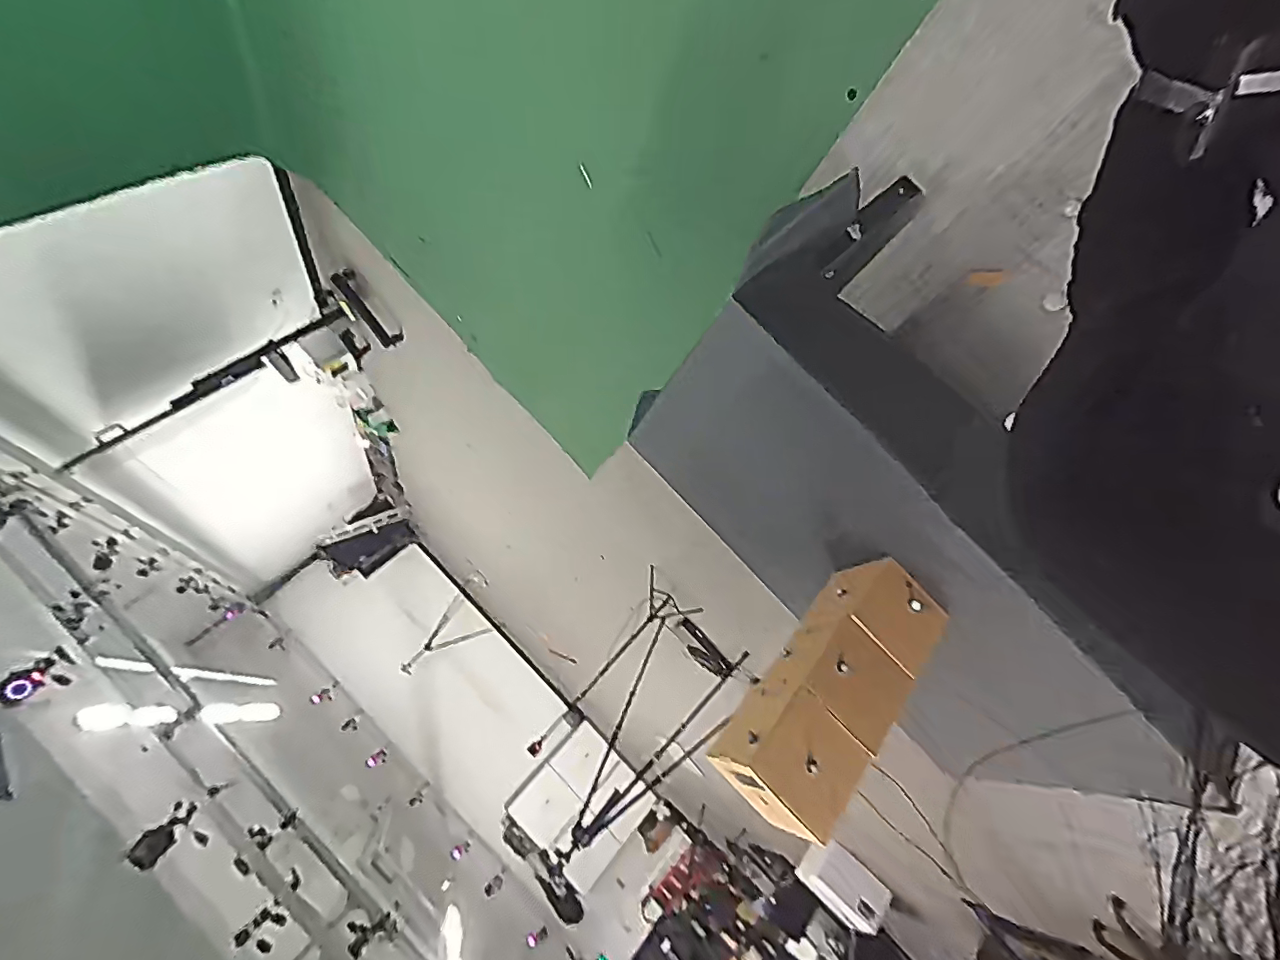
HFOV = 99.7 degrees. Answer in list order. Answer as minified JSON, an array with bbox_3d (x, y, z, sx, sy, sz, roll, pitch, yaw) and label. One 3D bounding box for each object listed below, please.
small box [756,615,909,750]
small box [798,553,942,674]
[{"bbox_3d":[0.361,0.373,1.020,0.179,0.176,0.168,46,152,4],"label":"small box"},{"bbox_3d":[0.465,0.273,1.095,0.168,0.176,0.179,47,151,1],"label":"small box"}]
